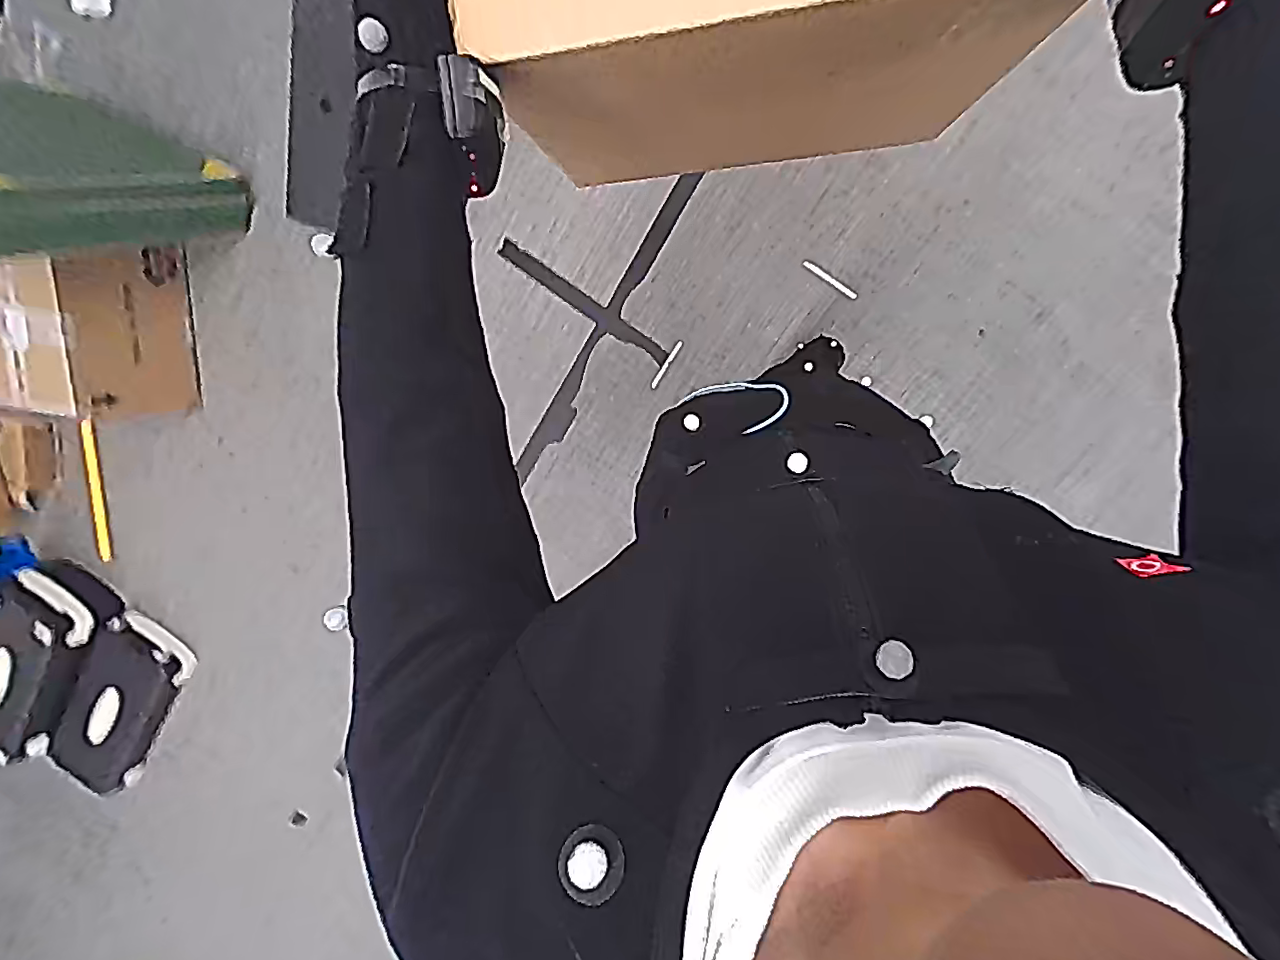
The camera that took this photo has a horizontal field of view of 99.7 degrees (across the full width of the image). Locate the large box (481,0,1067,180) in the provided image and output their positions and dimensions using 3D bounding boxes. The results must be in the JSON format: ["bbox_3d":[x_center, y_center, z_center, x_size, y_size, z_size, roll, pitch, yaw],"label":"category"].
[{"bbox_3d":[0.096,-0.478,0.439,0.408,0.320,0.320,-3,105,8],"label":"large box"}]
